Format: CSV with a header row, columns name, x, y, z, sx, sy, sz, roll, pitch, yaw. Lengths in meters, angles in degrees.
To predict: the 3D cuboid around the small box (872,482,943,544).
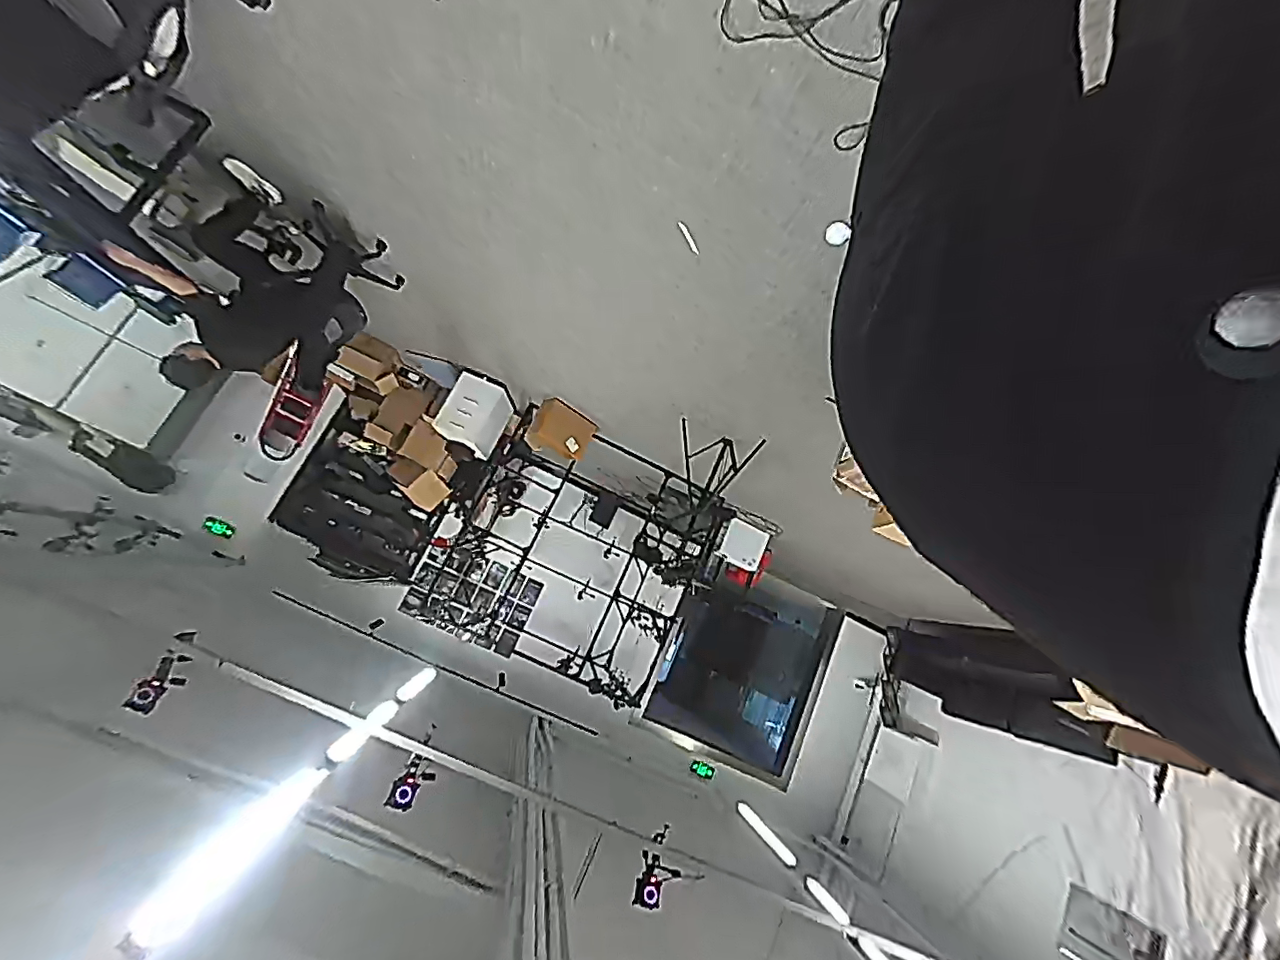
name,x,y,z,sx,sy,sz,roll,pitch,yaw
small box,1.038,0.130,2.094,0.168,0.176,0.179,24,162,-2
